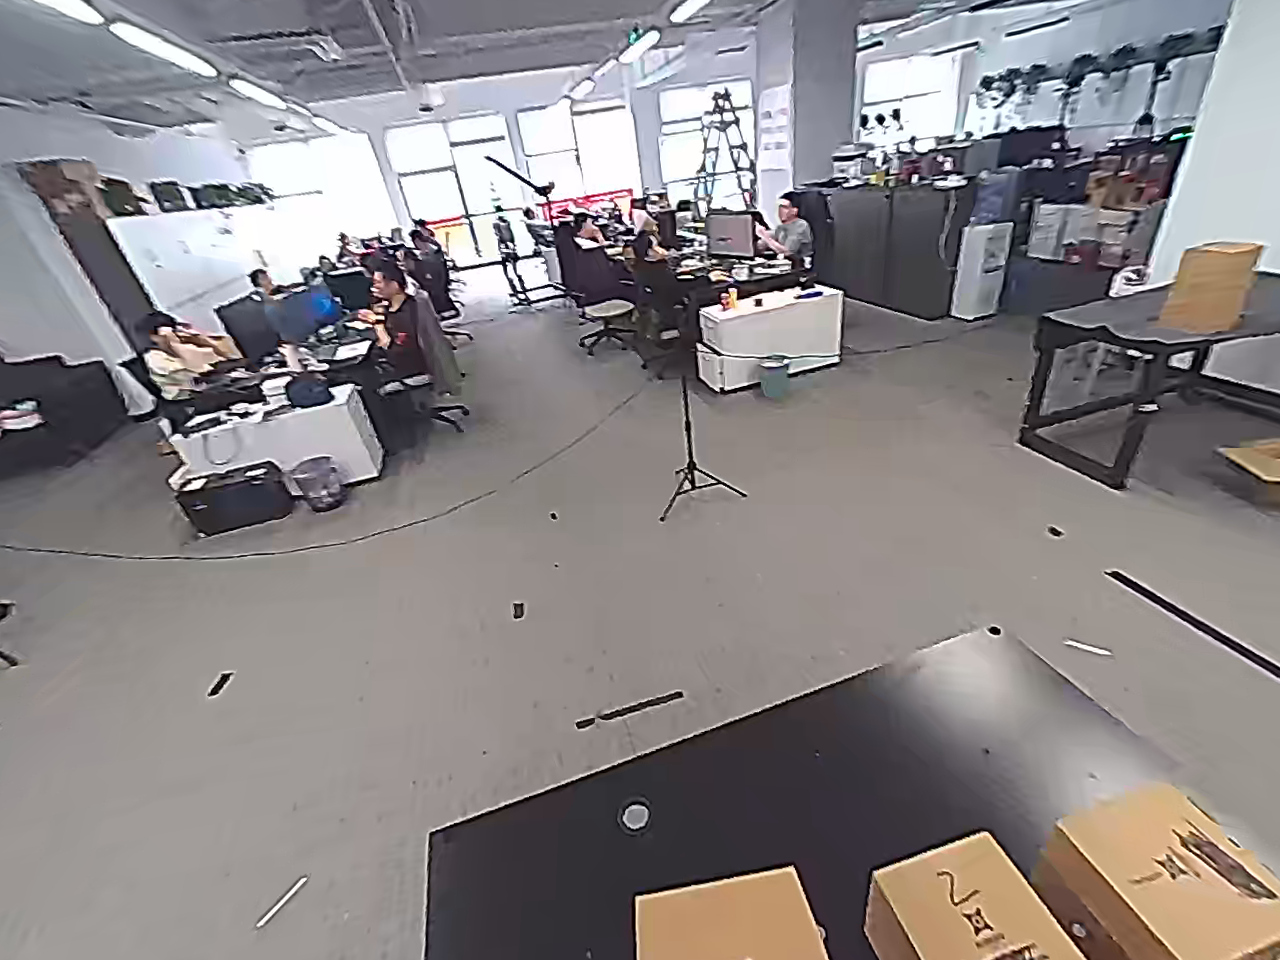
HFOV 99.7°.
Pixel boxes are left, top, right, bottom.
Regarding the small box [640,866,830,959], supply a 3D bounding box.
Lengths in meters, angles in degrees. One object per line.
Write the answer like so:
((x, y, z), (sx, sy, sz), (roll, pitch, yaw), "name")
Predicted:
((0.091, 0.509, 0.503), (0.168, 0.176, 0.179), (-6, 30, -8), "small box")

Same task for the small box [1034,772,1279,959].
((0.643, 0.513, 0.677), (0.179, 0.176, 0.168), (-16, 31, -8), "small box")
